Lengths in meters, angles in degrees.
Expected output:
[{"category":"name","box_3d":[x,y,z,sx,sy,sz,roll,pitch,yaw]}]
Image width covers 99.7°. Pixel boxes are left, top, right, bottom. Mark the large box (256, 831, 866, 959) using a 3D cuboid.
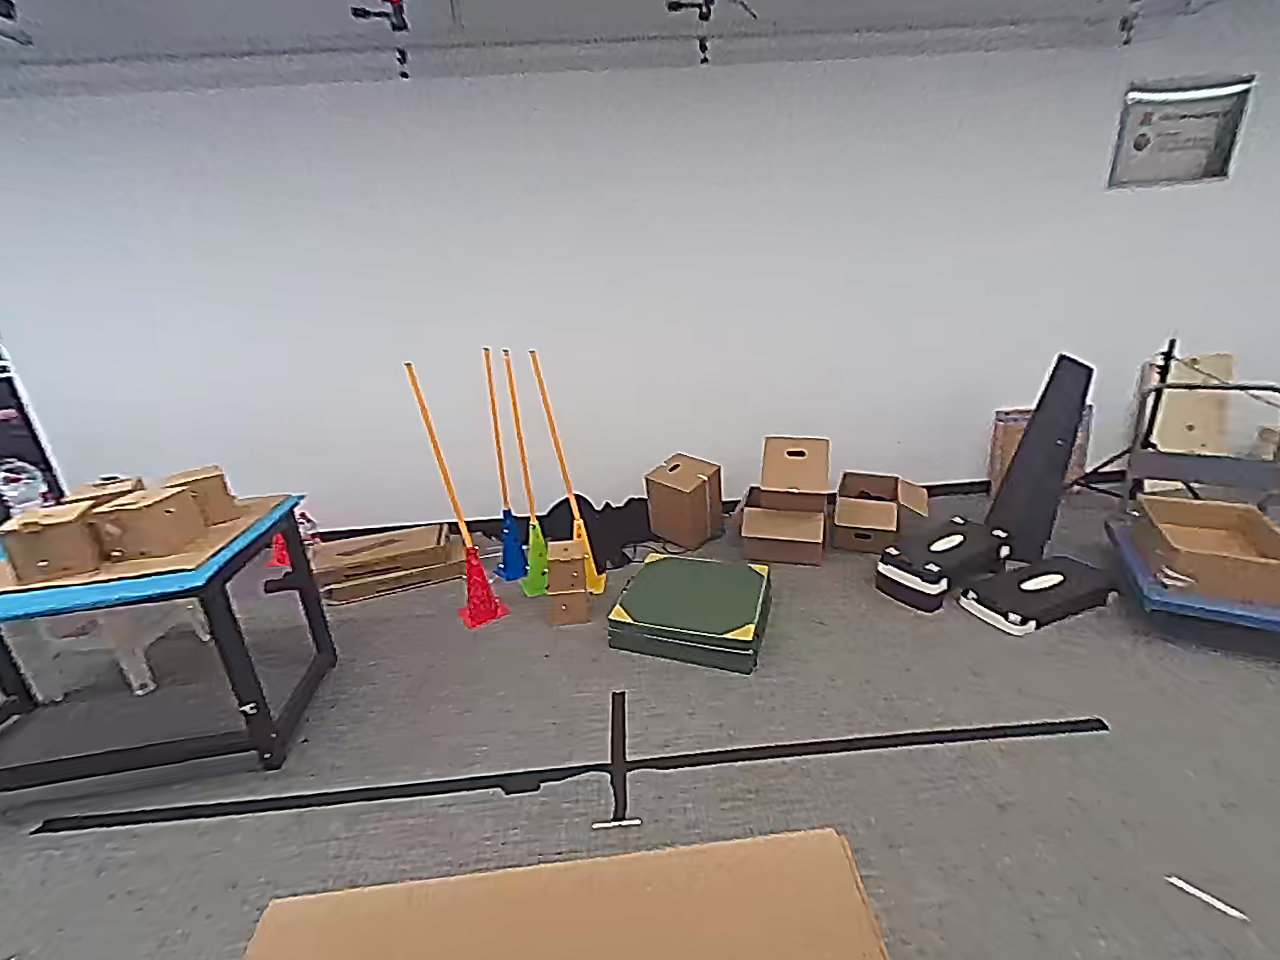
[{"category":"large box","box_3d":[-0.035,0.487,0.343,0.408,0.320,0.320,-6,31,-2]}]
